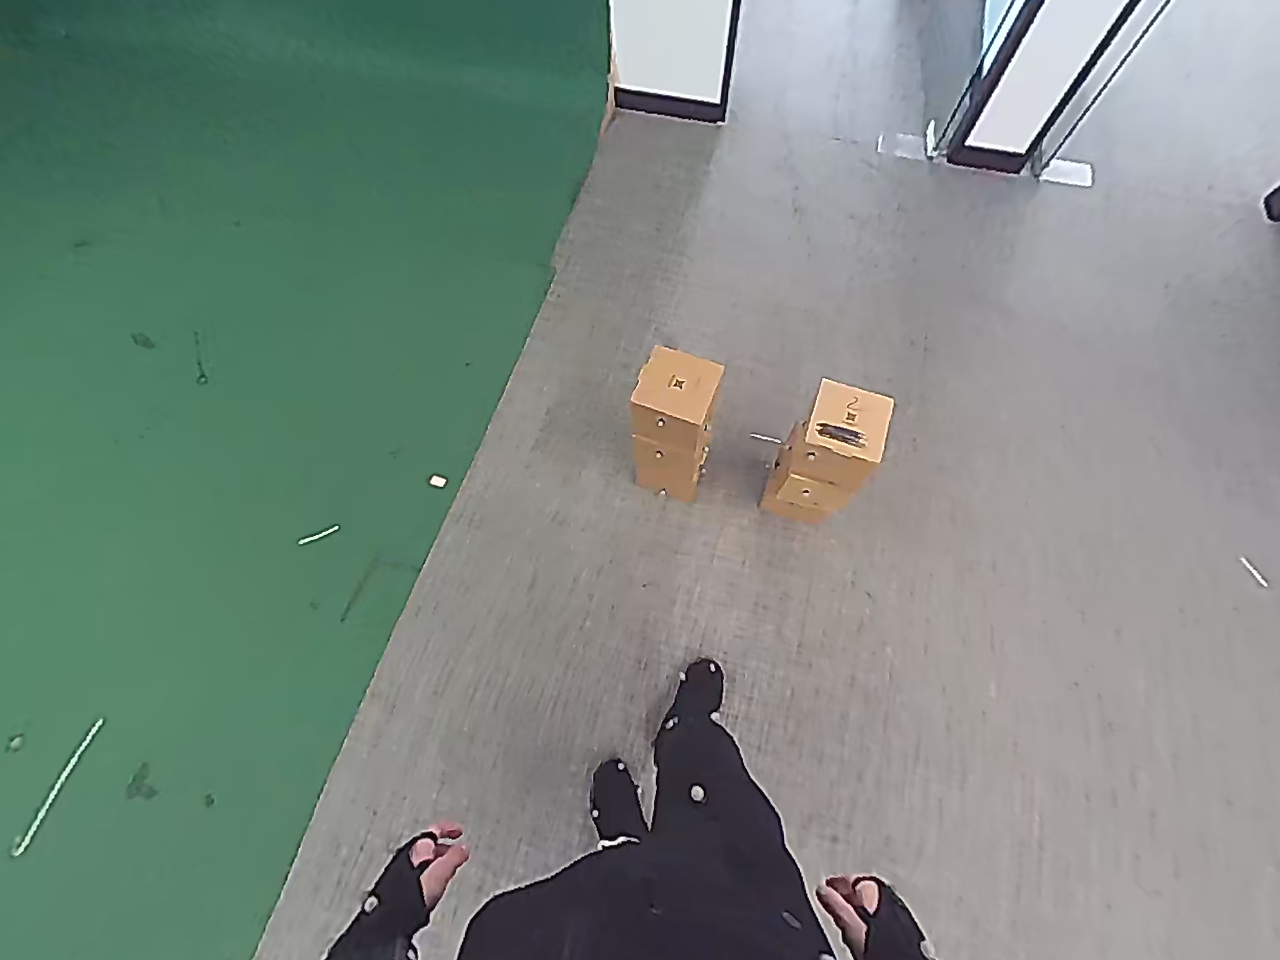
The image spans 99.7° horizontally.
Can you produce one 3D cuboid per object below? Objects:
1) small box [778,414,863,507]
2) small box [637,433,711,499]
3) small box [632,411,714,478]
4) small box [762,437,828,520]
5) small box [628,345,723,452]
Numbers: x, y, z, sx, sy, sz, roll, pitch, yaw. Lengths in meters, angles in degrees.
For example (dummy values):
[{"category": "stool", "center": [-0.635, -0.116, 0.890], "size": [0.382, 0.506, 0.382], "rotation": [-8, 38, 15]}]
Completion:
[{"category": "small box", "center": [0.464, -0.045, 1.409], "size": [0.168, 0.176, 0.179], "rotation": [12, 68, 6]}, {"category": "small box", "center": [0.098, -0.059, 1.600], "size": [0.179, 0.176, 0.168], "rotation": [17, 69, 8]}, {"category": "small box", "center": [0.088, -0.125, 1.449], "size": [0.179, 0.176, 0.168], "rotation": [18, 69, 8]}, {"category": "small box", "center": [0.466, 0.002, 1.565], "size": [0.179, 0.176, 0.168], "rotation": [16, 69, 7]}, {"category": "small box", "center": [0.083, -0.189, 1.300], "size": [0.179, 0.176, 0.168], "rotation": [20, 70, 9]}]
